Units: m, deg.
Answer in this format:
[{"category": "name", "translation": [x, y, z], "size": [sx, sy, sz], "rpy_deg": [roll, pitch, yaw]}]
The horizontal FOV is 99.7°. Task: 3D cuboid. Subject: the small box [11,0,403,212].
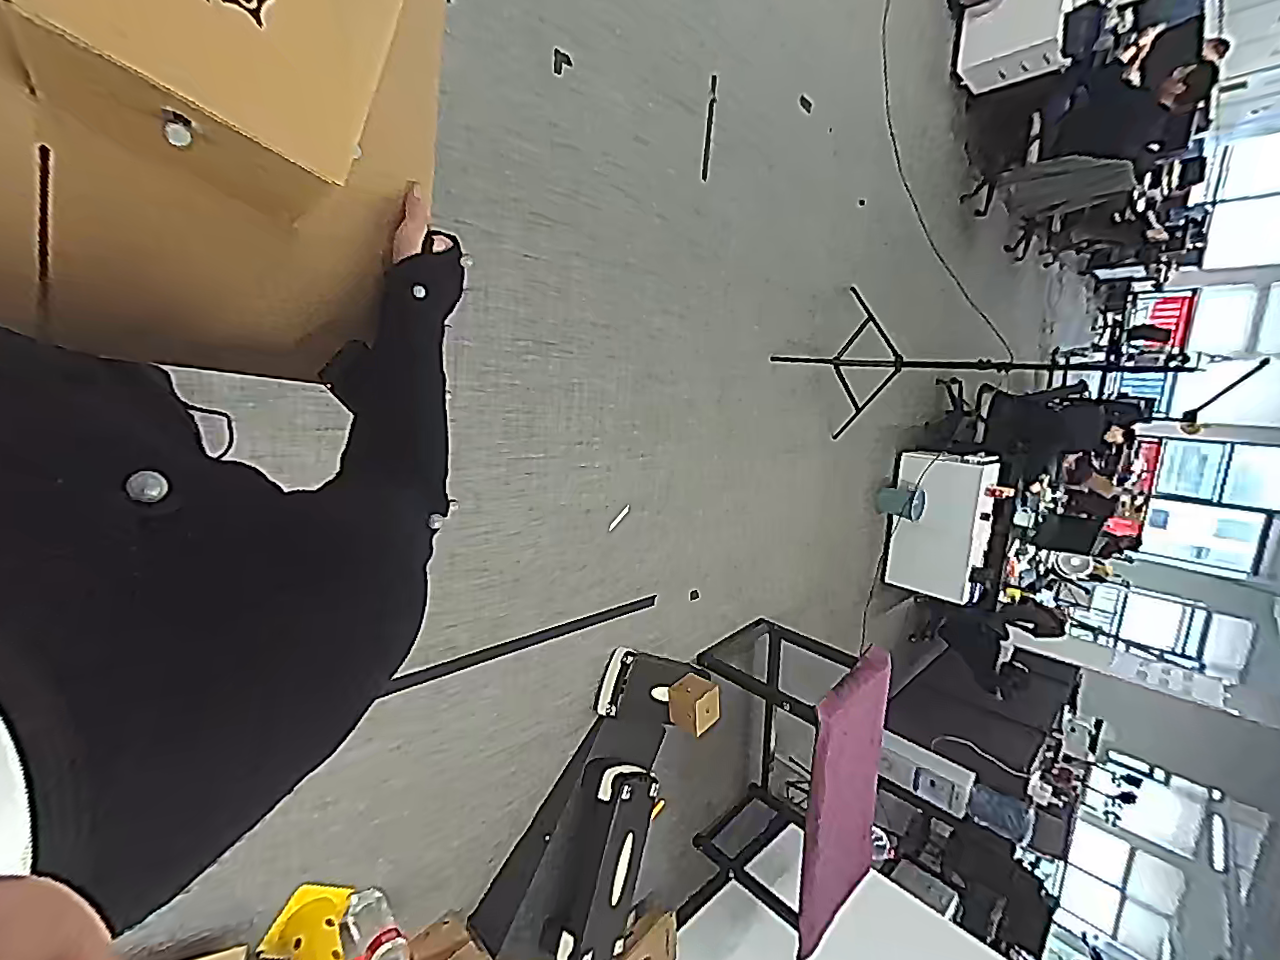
[{"category": "small box", "translation": [-0.321, -0.336, 0.422], "size": [0.179, 0.176, 0.168], "rpy_deg": [18, 87, -42]}]
